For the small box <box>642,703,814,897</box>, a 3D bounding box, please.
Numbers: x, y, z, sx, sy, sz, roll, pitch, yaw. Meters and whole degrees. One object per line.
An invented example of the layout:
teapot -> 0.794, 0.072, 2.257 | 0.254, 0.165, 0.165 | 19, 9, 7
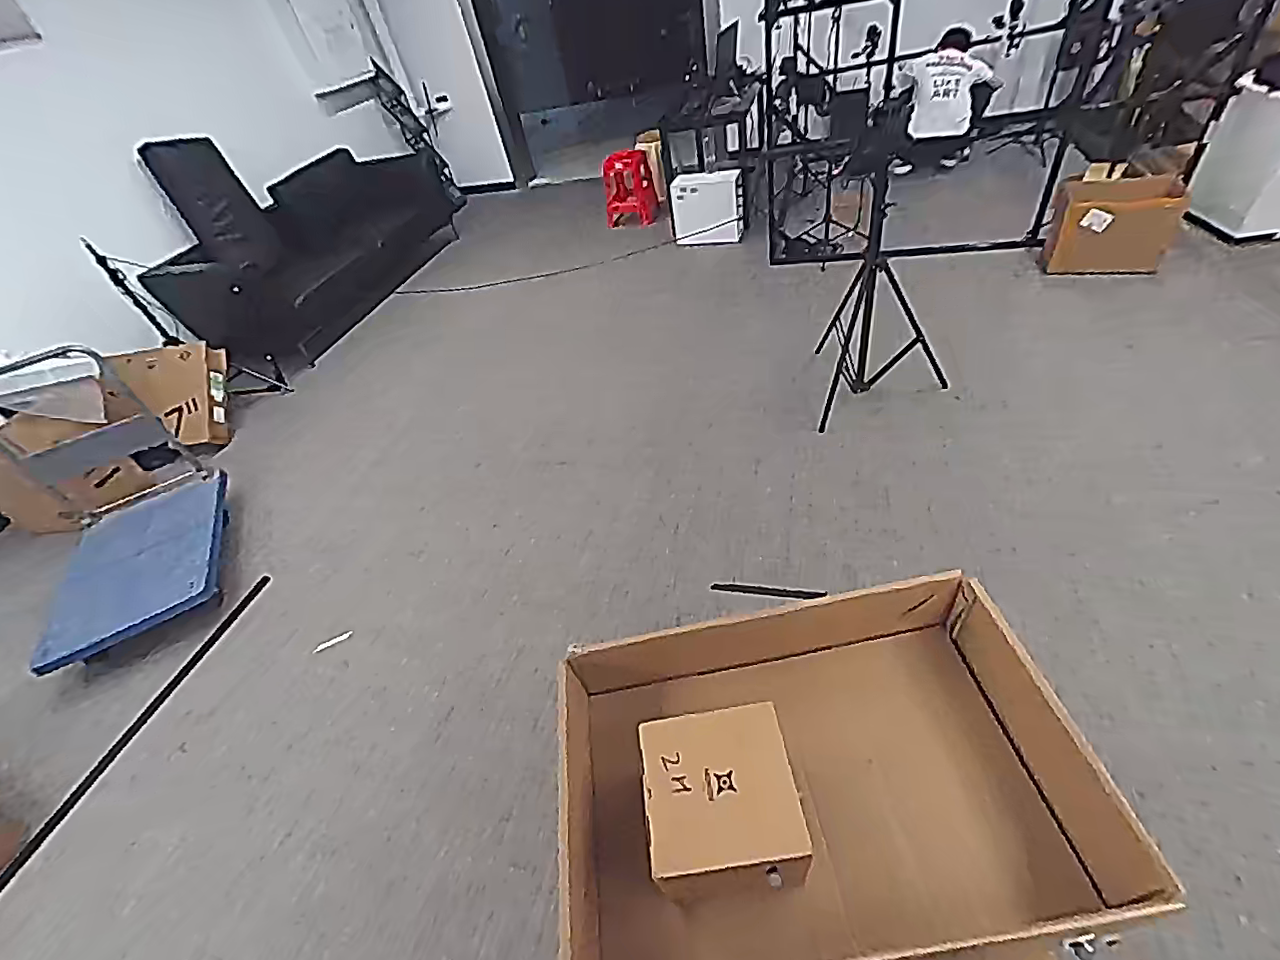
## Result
small box -> 0.106, 0.407, 0.686 | 0.179, 0.176, 0.168 | -11, 44, 4
